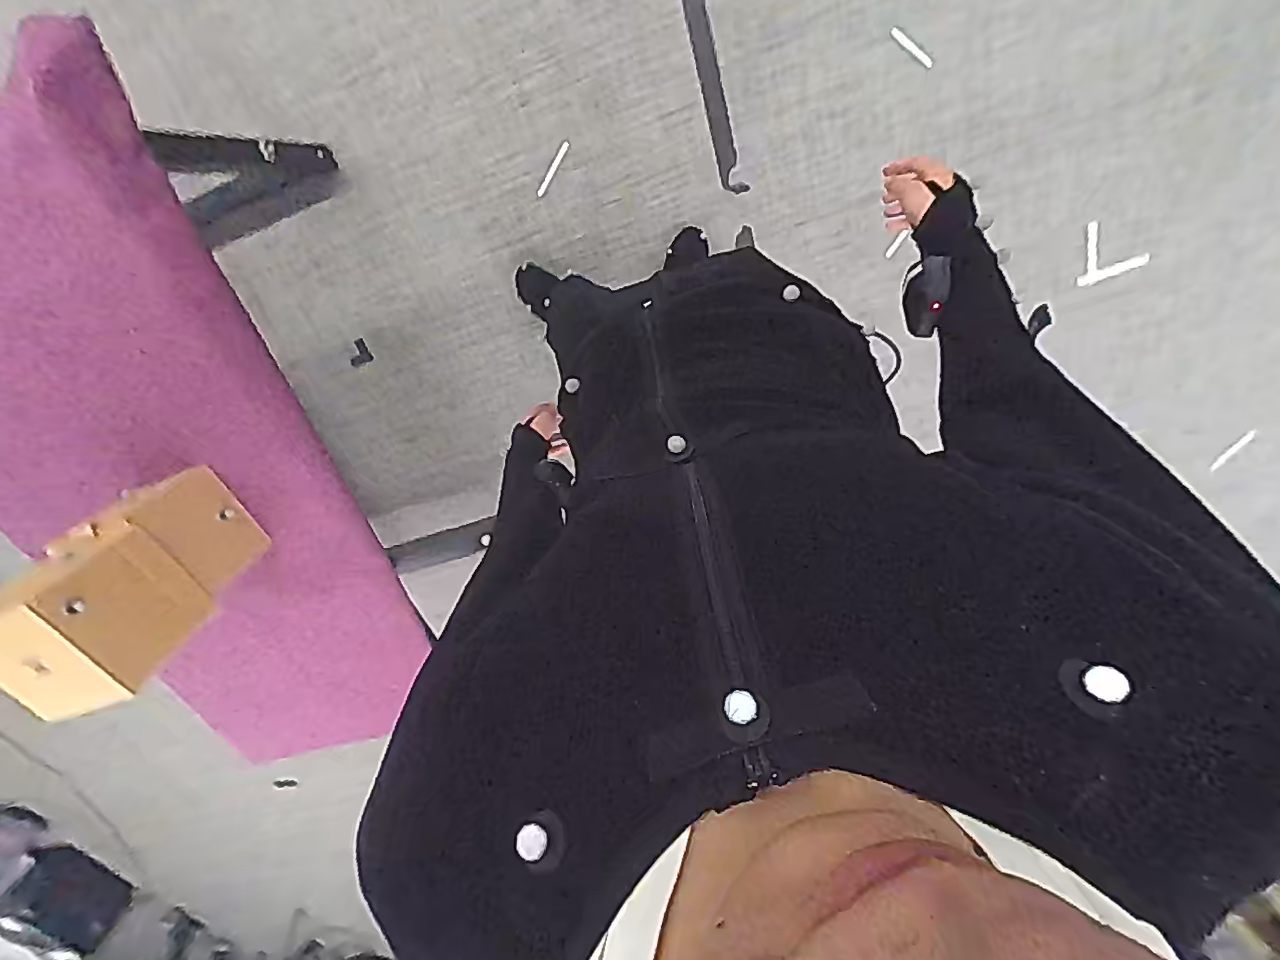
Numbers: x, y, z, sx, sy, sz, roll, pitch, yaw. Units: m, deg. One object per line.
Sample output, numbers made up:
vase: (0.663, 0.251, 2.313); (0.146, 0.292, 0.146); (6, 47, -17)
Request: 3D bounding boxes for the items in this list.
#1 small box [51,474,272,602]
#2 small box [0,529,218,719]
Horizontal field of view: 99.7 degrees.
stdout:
small box: (-0.778, 0.108, 0.902); (0.168, 0.176, 0.179); (-18, 117, 13)
small box: (-0.767, 0.200, 0.767); (0.168, 0.176, 0.179); (-18, 117, 12)
